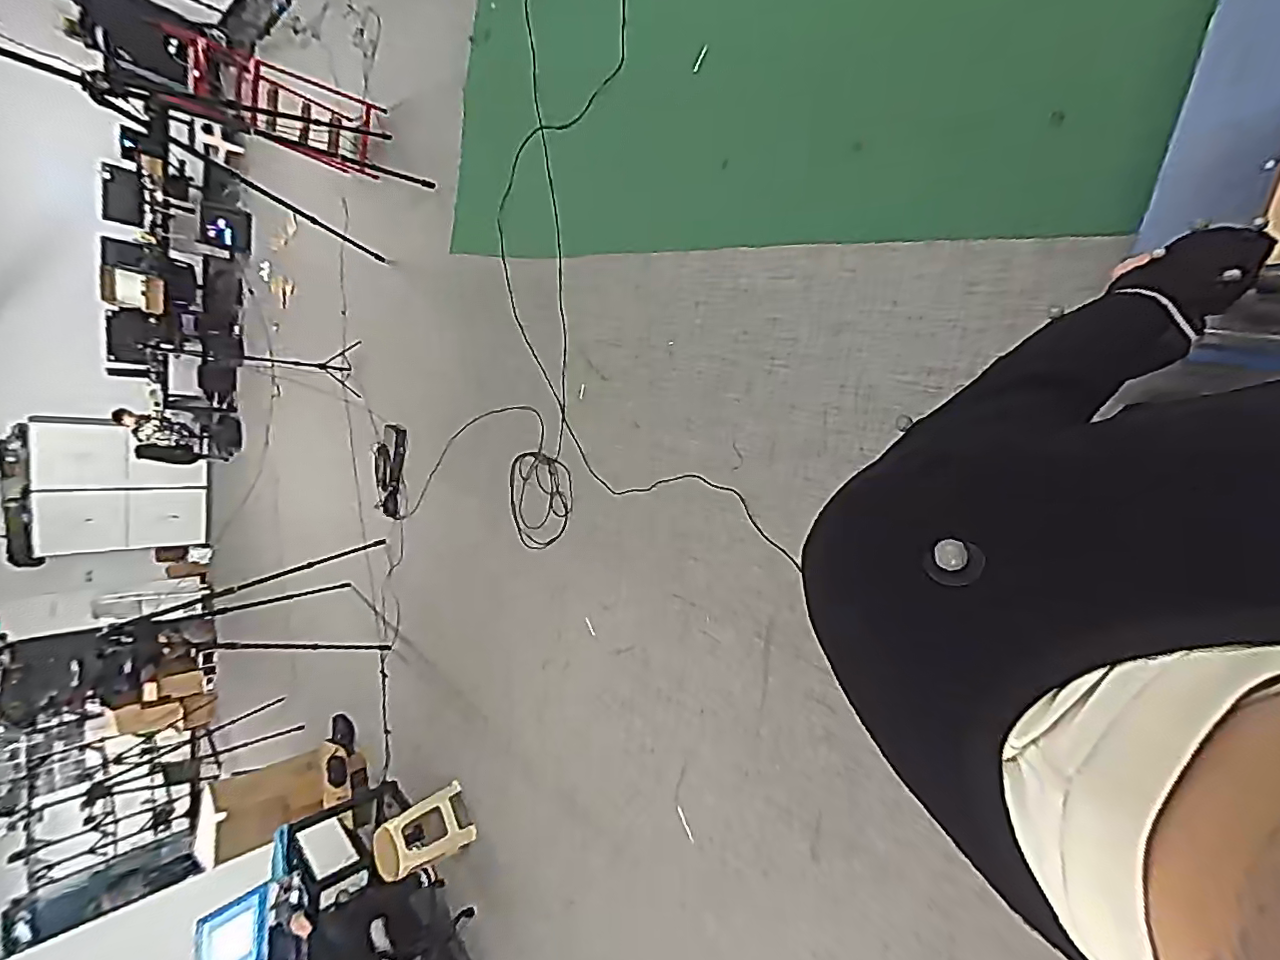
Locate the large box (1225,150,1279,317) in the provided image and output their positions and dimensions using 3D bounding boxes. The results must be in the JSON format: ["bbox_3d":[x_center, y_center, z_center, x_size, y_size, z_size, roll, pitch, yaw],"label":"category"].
[{"bbox_3d":[1.144,-0.464,0.781,0.320,0.320,0.408,20,103,39],"label":"large box"}]
